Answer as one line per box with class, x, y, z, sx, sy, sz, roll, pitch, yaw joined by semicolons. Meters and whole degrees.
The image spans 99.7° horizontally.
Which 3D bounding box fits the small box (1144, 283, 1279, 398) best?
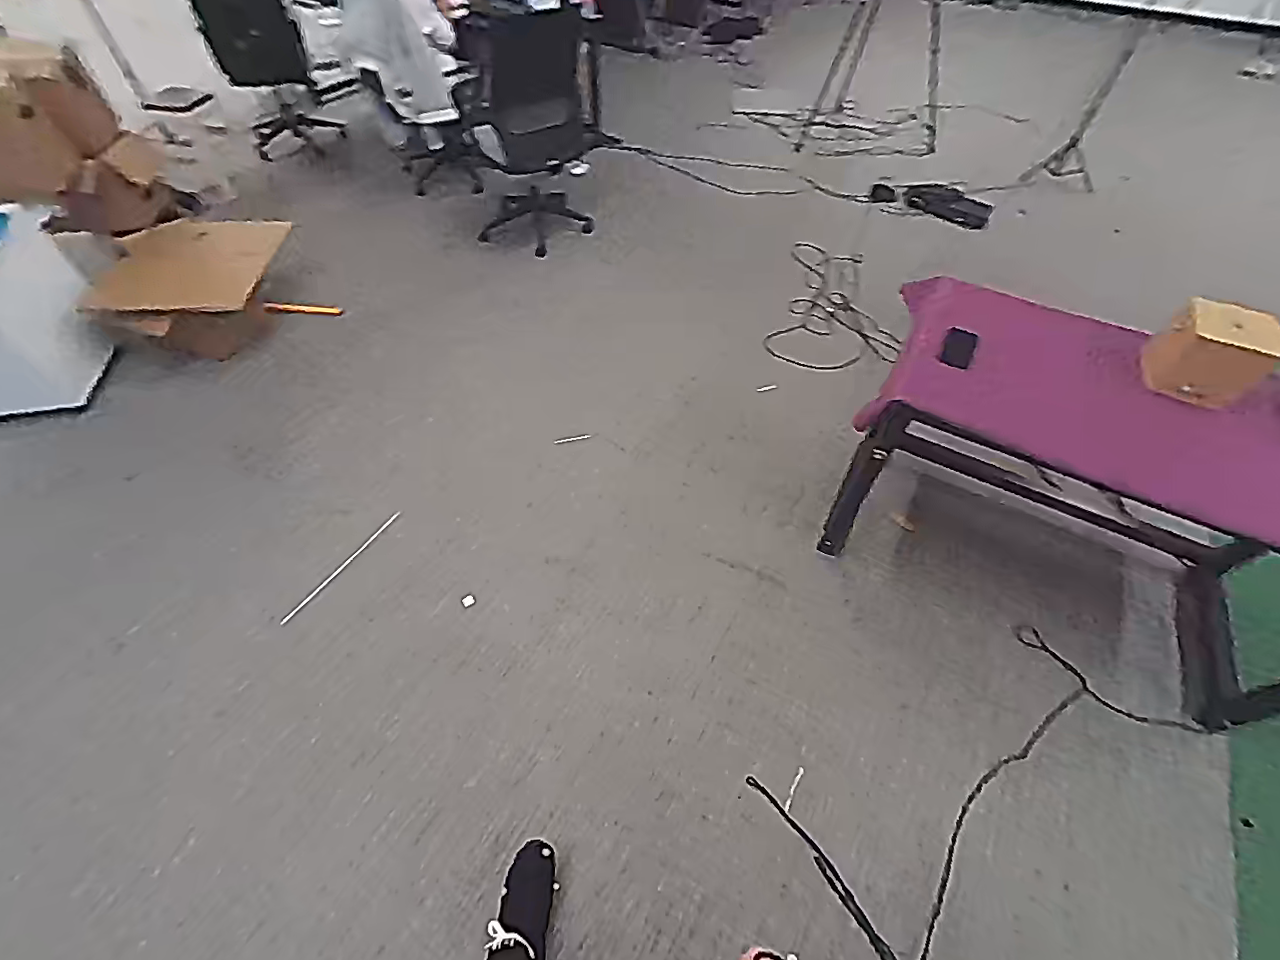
small box;1.340;-0.326;1.274;0.168;0.176;0.179;23;56;18
